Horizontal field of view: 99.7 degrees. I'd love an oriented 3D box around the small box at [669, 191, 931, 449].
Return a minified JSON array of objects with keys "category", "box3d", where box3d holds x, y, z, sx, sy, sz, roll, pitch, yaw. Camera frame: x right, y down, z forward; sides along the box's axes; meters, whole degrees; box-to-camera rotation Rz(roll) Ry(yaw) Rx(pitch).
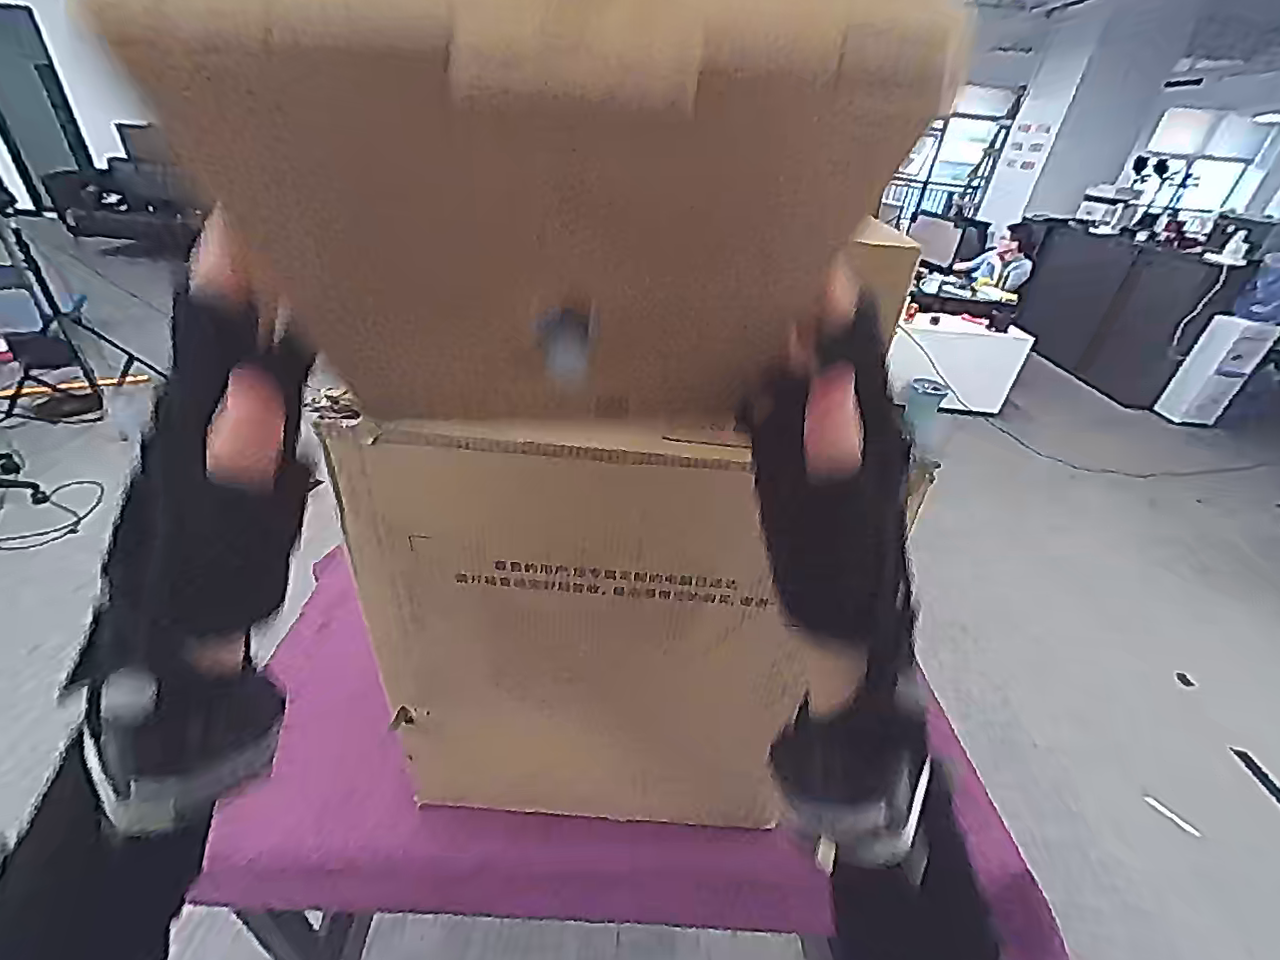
[{"category":"small box","box3d":[0.117,-0.147,0.478,0.168,0.176,0.179,6,33,2]}]
